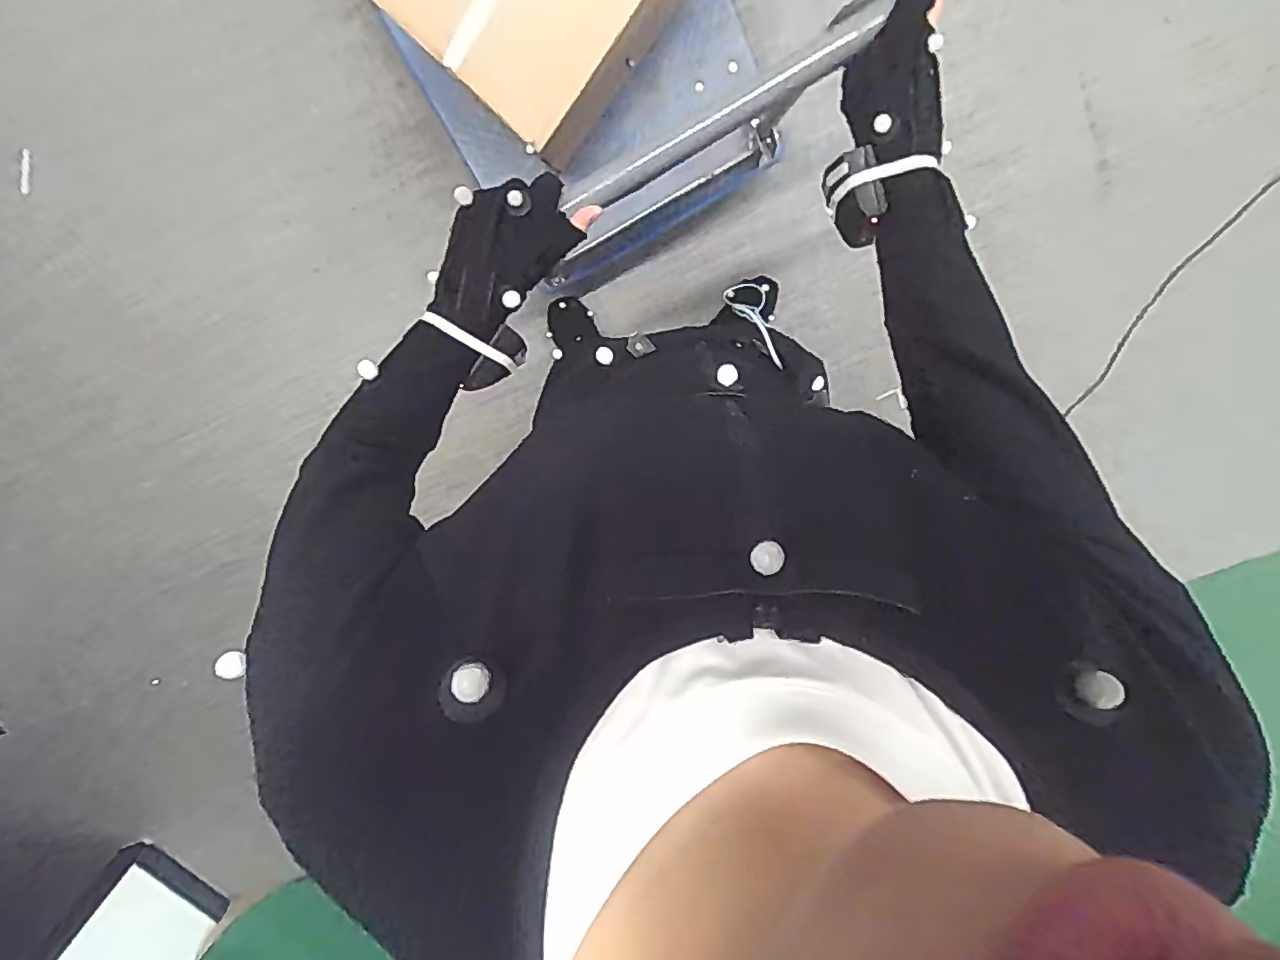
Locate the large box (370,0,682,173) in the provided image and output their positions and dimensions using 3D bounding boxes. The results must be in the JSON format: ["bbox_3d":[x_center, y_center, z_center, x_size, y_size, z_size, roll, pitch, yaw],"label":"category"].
[{"bbox_3d":[-0.135,-0.778,0.852,0.320,0.320,0.408,37,110,-15],"label":"large box"}]
